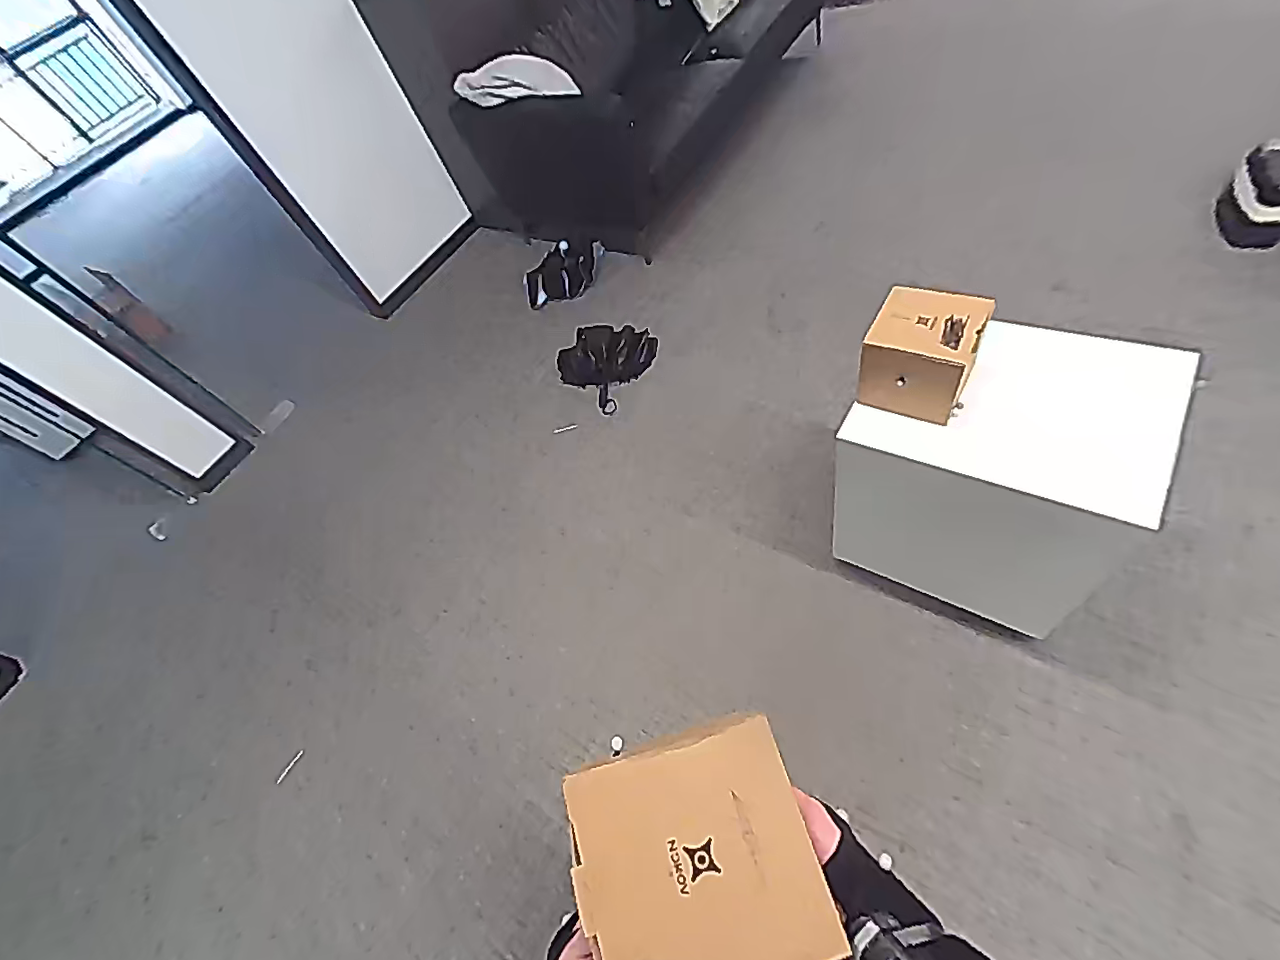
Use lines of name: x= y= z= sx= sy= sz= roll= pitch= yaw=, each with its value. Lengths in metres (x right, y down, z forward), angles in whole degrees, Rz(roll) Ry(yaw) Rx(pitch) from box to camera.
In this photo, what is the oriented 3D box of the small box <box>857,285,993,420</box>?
small box: x=0.535 y=-0.239 z=1.033 sx=0.179 sy=0.176 sz=0.168 roll=22 pitch=66 yaw=30
